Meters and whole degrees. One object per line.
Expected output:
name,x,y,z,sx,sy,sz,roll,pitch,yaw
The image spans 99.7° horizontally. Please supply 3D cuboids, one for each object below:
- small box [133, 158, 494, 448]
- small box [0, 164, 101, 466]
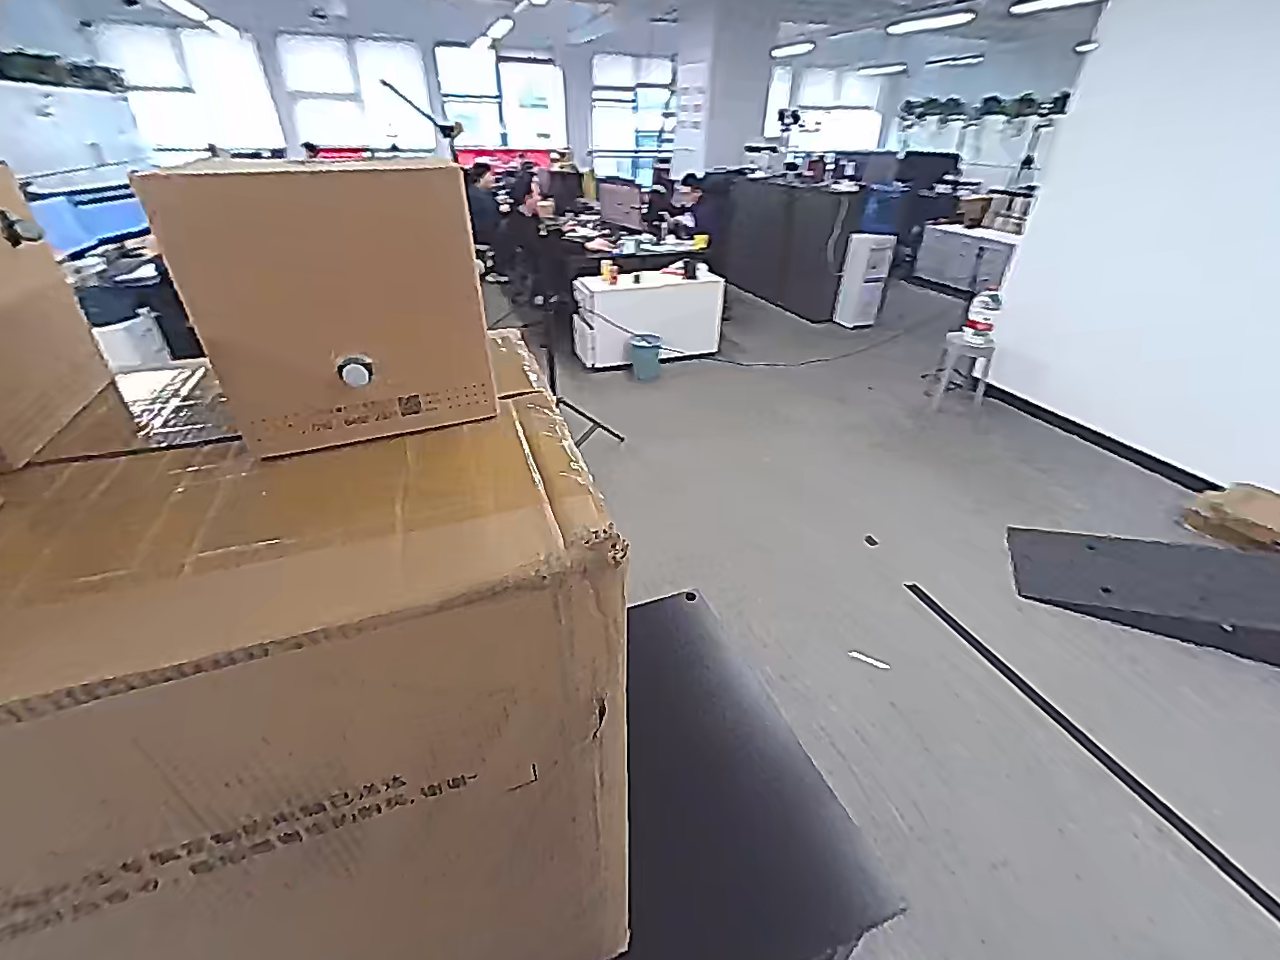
small box,-0.217,-0.143,0.408,0.168,0.176,0.179,-14,35,-20
small box,-0.501,-0.104,0.340,0.168,0.176,0.179,-12,33,-20
